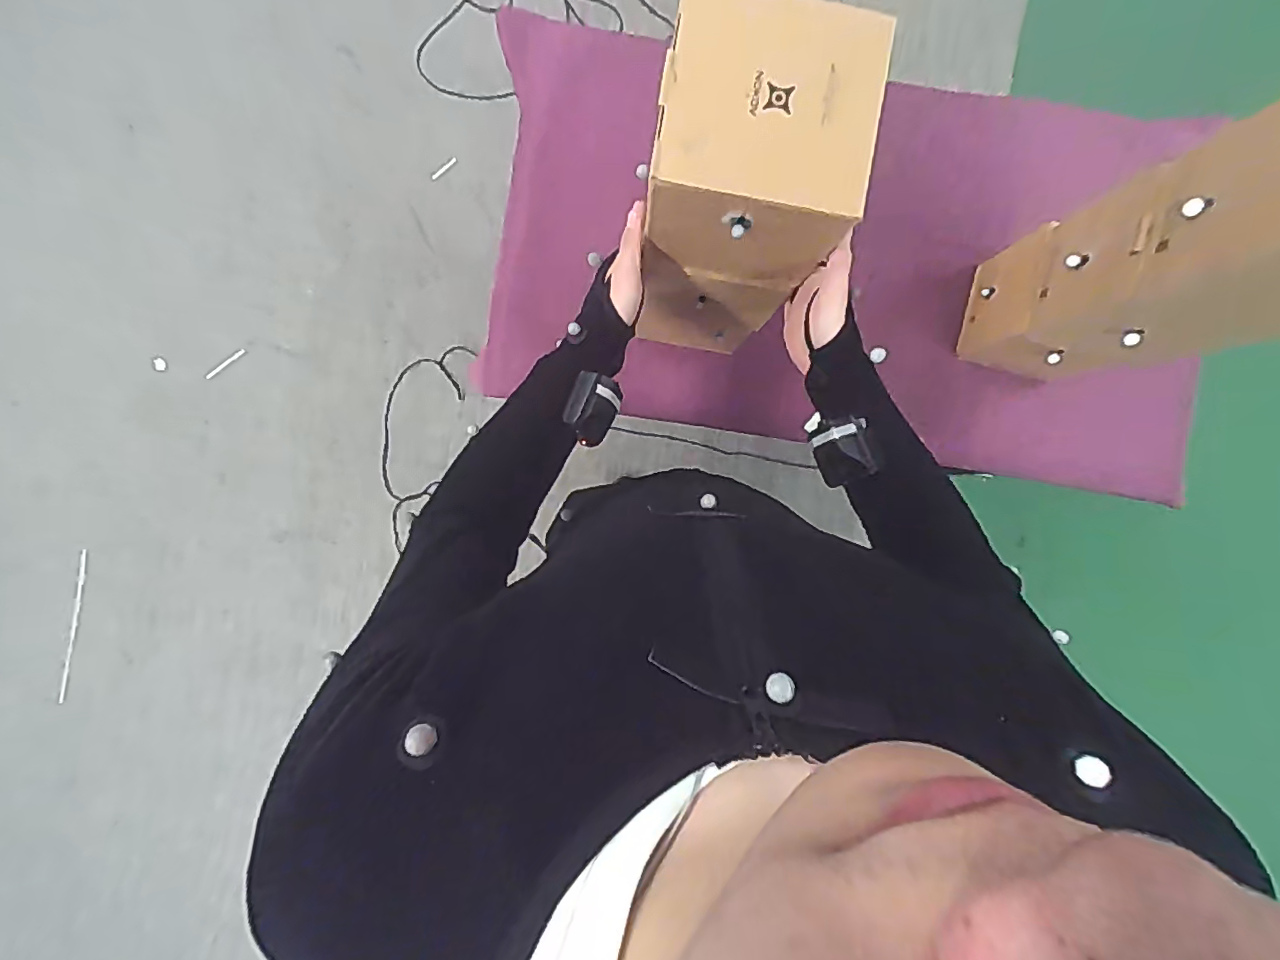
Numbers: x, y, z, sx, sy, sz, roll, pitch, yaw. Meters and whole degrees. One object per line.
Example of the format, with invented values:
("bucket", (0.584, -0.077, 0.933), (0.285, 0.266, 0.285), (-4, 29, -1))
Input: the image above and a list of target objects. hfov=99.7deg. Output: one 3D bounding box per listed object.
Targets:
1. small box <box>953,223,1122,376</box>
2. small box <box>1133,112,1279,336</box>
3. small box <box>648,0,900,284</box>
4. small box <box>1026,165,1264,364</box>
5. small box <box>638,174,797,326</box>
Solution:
("small box", (0.644, -0.271, 0.856), (0.179, 0.176, 0.168), (14, 90, -1))
("small box", (0.654, -0.253, 0.527), (0.179, 0.176, 0.168), (14, 89, -1))
("small box", (0.107, -0.303, 0.510), (0.179, 0.176, 0.168), (10, 90, -3))
("small box", (0.646, -0.259, 0.692), (0.179, 0.176, 0.168), (14, 90, 0))
("small box", (0.096, -0.302, 0.673), (0.179, 0.176, 0.168), (9, 90, -1))
